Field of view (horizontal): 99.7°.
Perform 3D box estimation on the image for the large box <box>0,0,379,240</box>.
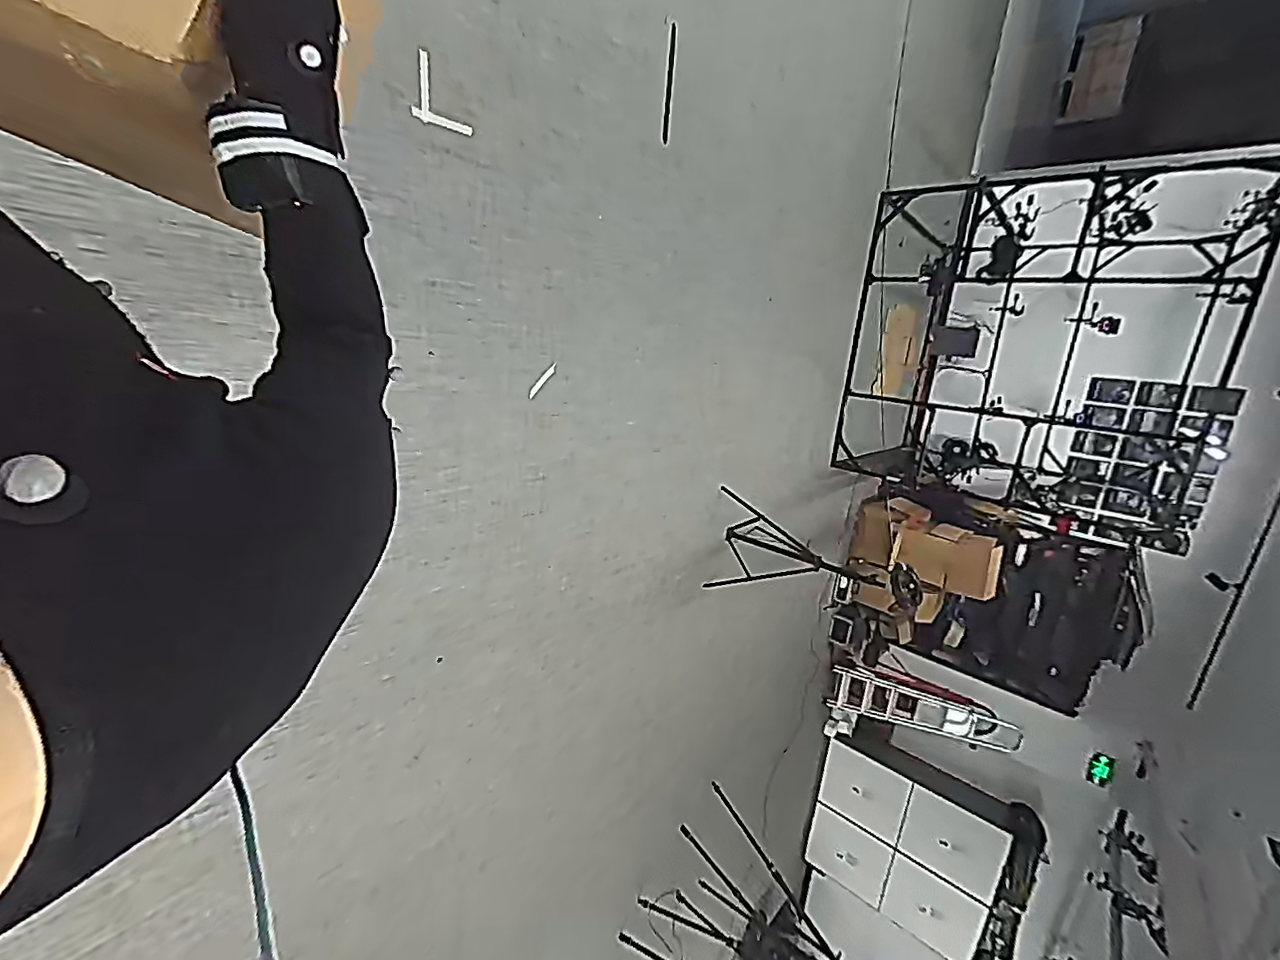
[{"bbox_3d":[-0.496,-0.488,0.462,0.408,0.320,0.320,20,83,-19],"label":"large box"}]
